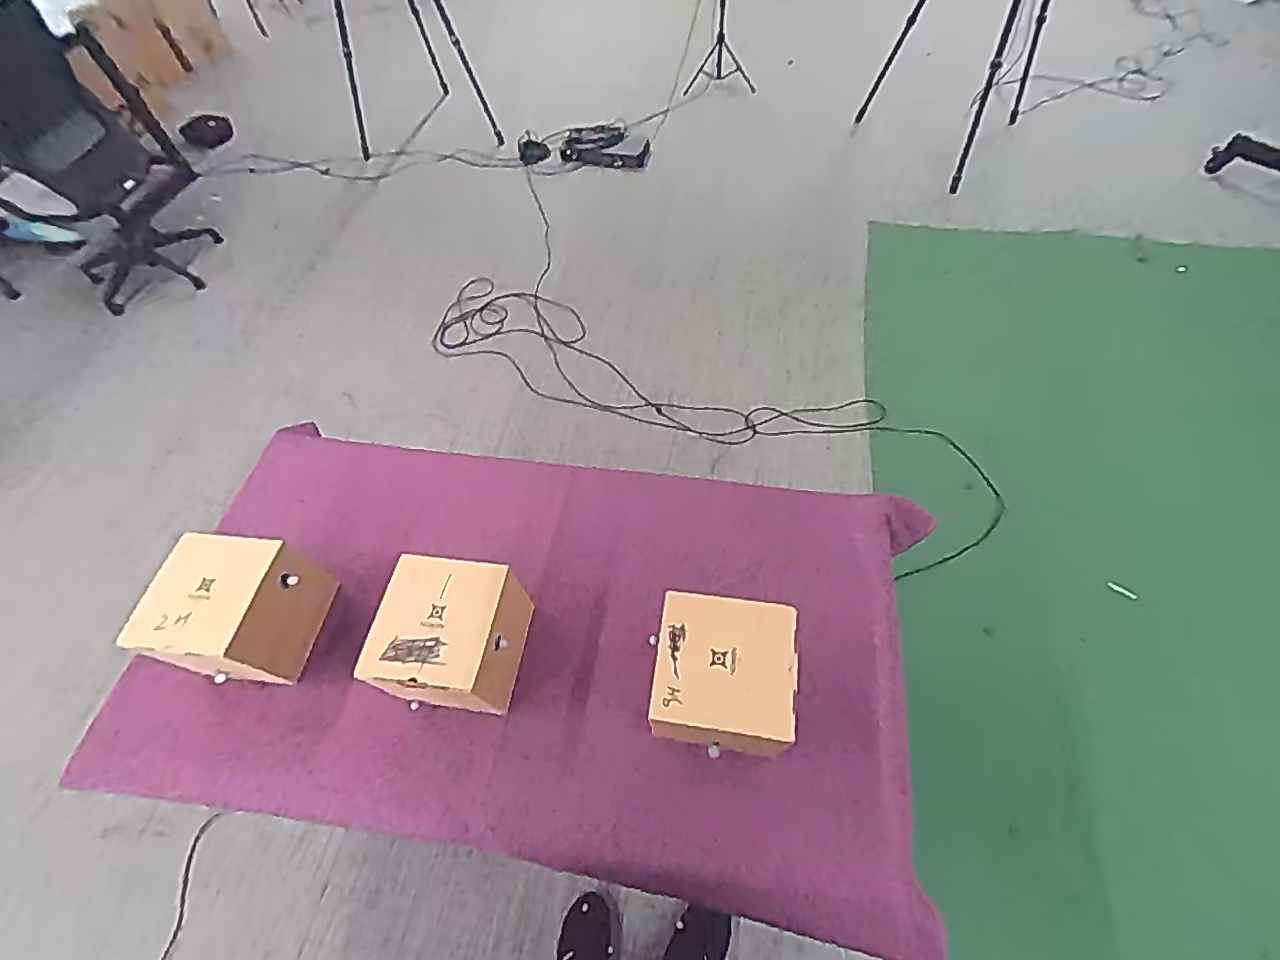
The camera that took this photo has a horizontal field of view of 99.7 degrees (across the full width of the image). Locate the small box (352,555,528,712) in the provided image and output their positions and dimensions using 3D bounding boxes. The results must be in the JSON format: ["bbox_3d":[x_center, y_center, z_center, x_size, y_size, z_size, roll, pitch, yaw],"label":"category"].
[{"bbox_3d":[-0.277,0.232,0.800,0.168,0.176,0.179,5,57,7],"label":"small box"}]

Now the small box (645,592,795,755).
[{"bbox_3d":[0.108,0.273,0.747,0.179,0.176,0.168,7,58,8],"label":"small box"}]

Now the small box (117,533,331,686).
[{"bbox_3d":[-0.620,0.203,0.840,0.168,0.176,0.179,4,58,7],"label":"small box"}]
